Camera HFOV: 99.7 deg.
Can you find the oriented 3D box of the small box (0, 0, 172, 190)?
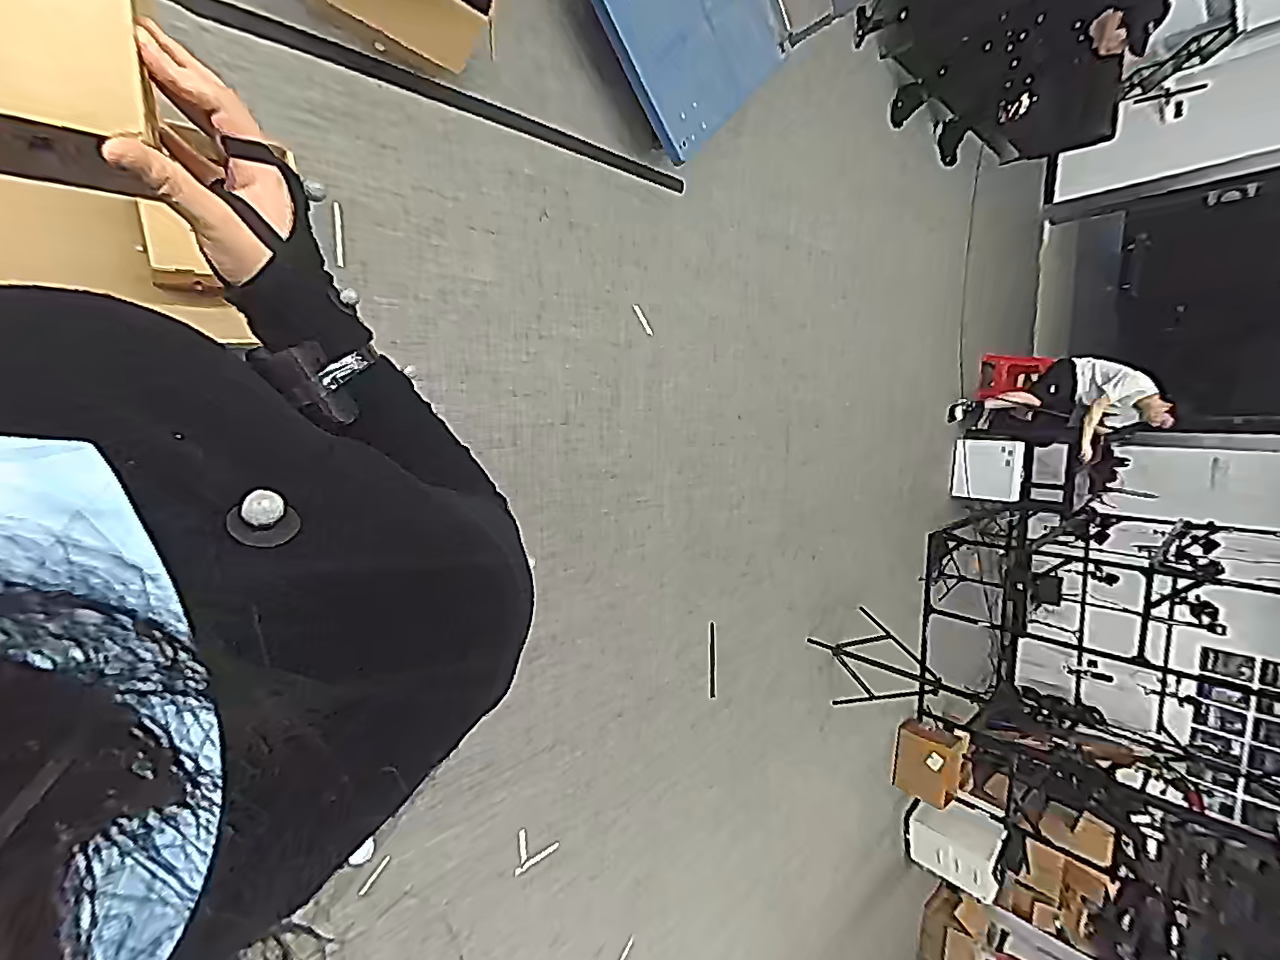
[{"bbox_3d":[-0.367,-0.267,0.282,0.179,0.176,0.168,-6,106,-36],"label":"small box"}]

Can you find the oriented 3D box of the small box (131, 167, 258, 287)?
[{"bbox_3d":[-0.871,-0.487,1.057,0.168,0.176,0.179,-12,104,-40],"label":"small box"}]
